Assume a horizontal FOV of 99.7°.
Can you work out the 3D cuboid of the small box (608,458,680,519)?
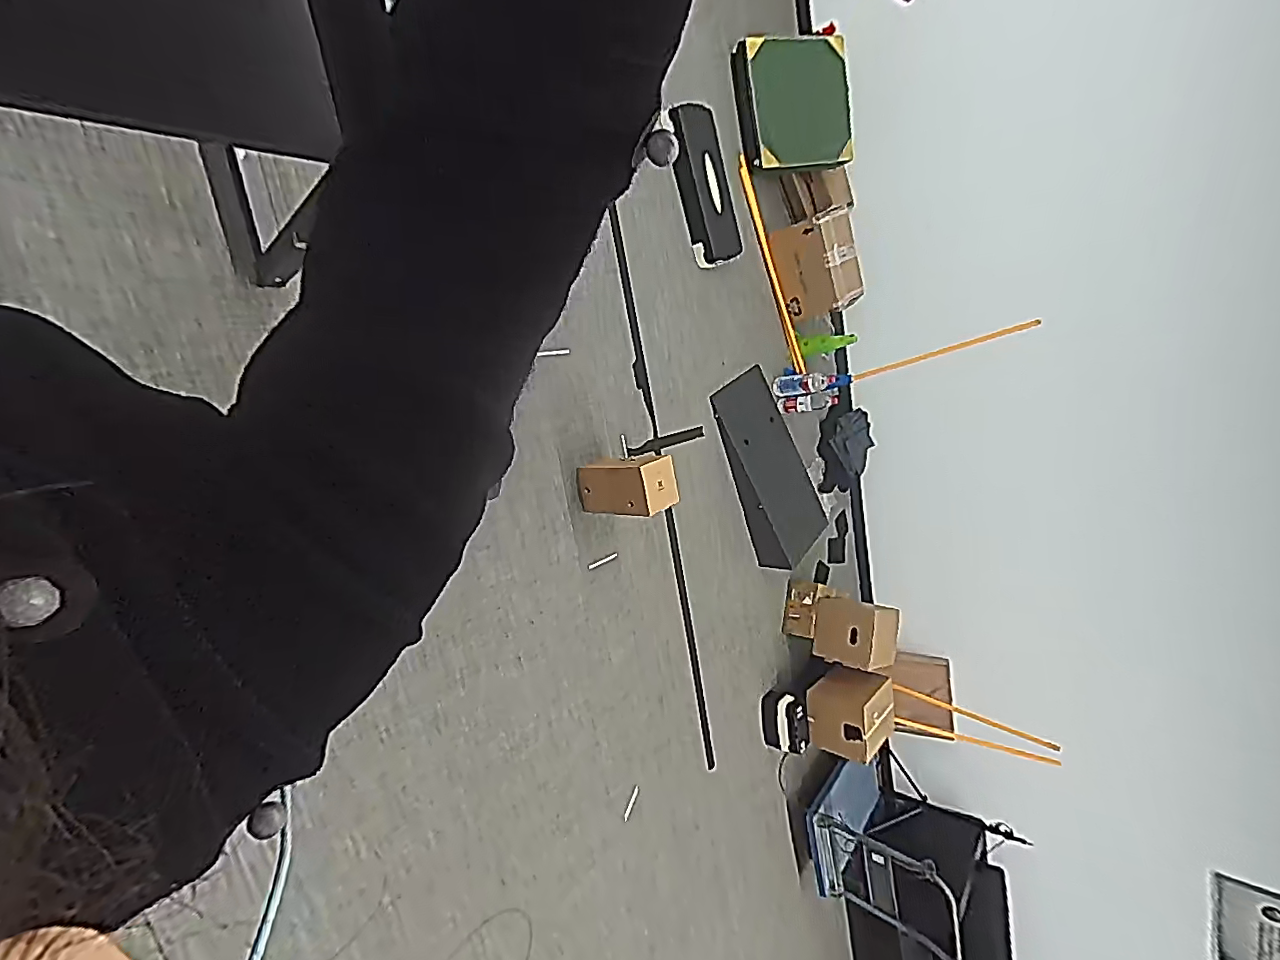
[{"bbox_3d":[0.012,0.025,1.878,0.168,0.176,0.179,-23,106,-45],"label":"small box"}]

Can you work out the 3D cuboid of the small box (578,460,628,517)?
[{"bbox_3d":[-0.105,0.025,1.993,0.168,0.176,0.179,-20,105,-45],"label":"small box"}]
